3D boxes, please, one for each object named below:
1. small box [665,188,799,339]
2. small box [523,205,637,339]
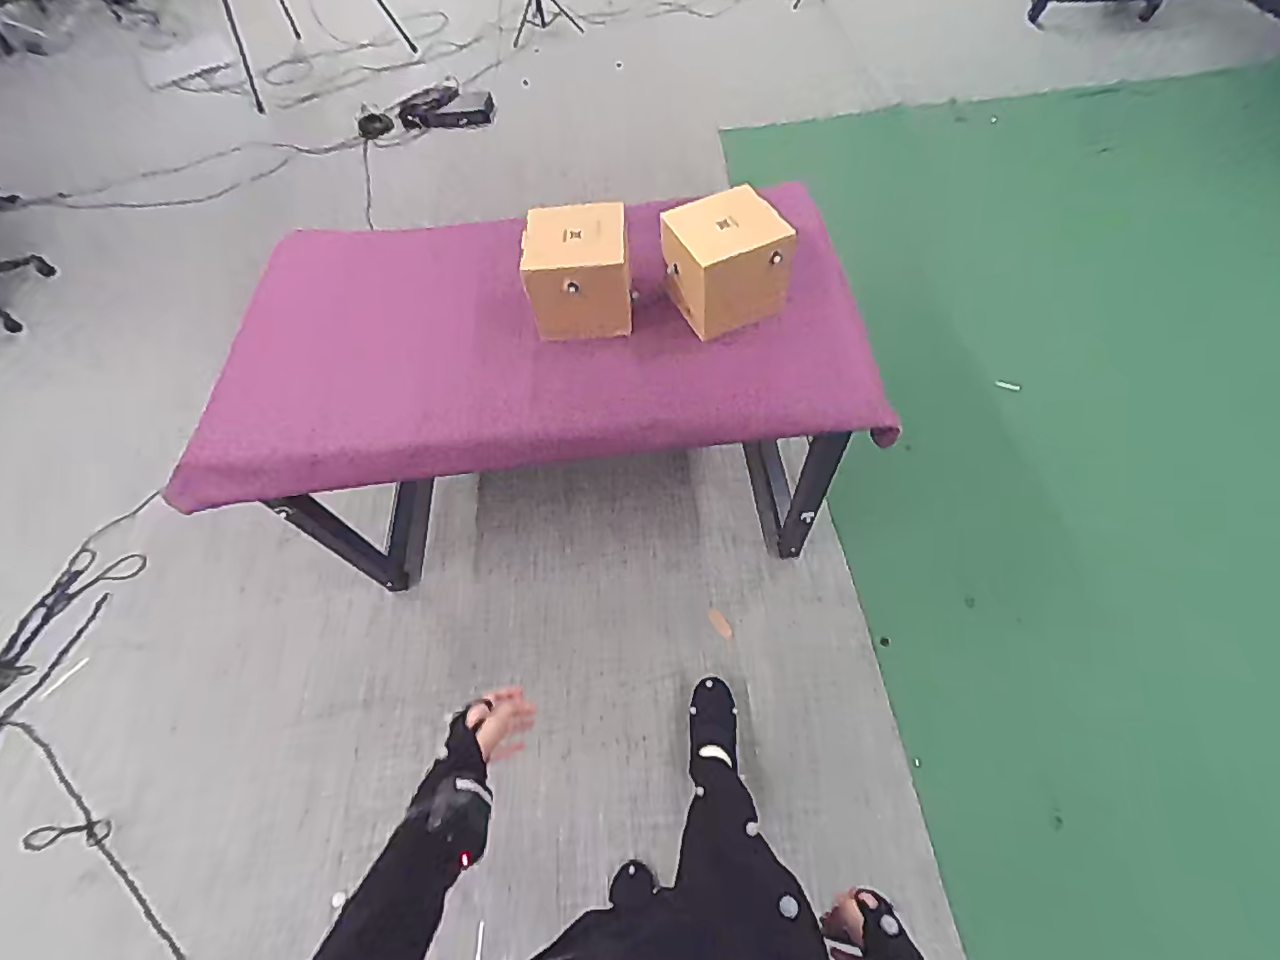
[{"bbox_3d":[0.159,-0.383,0.975,0.179,0.176,0.168,-22,59,-9],"label":"small box"},{"bbox_3d":[-0.100,-0.374,0.990,0.179,0.176,0.168,-1,60,3],"label":"small box"}]
